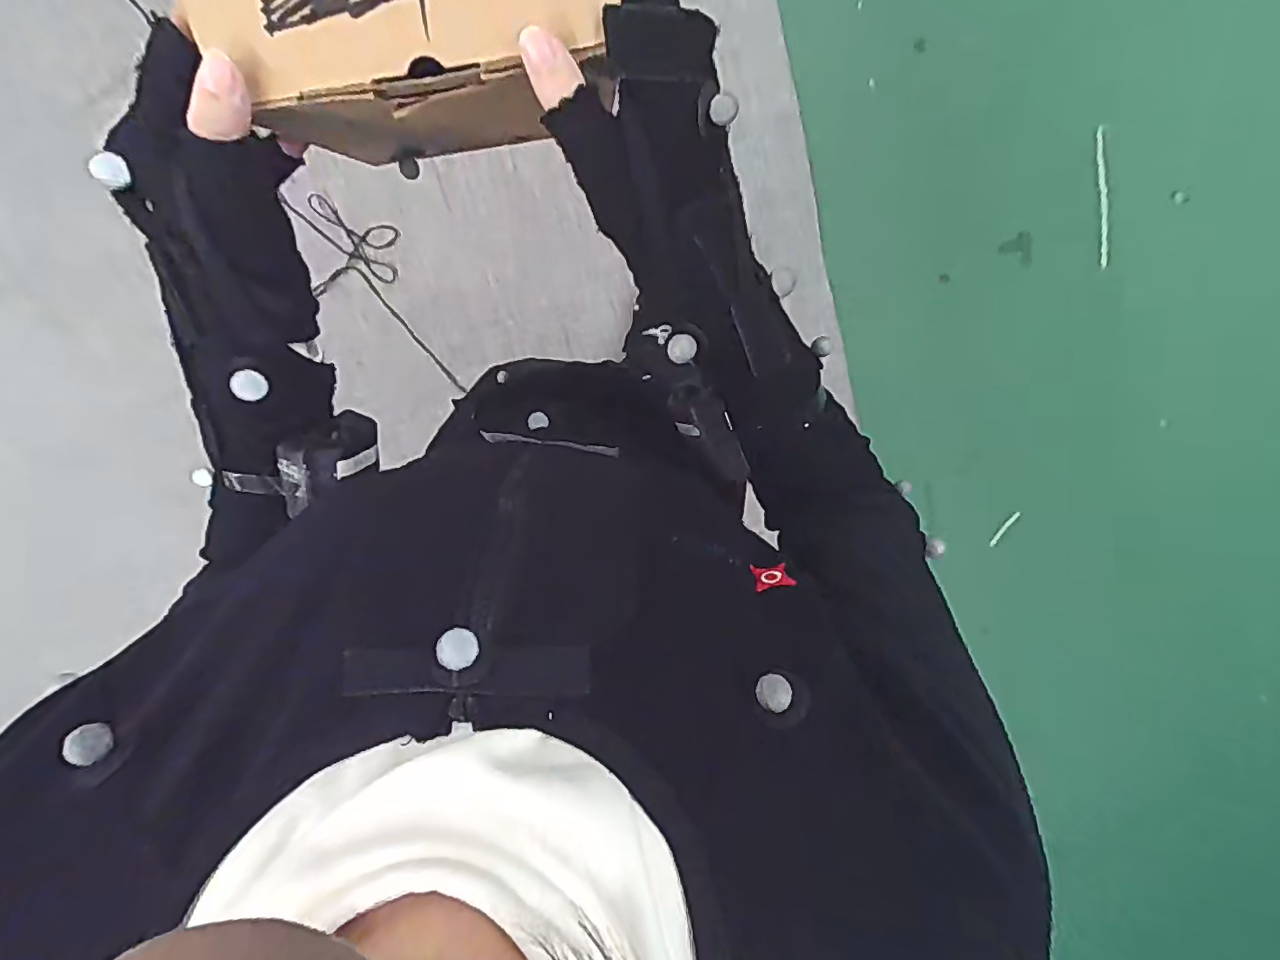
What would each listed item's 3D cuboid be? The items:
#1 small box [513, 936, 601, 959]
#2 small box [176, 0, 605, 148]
[{"bbox_3d":[-0.150,1.009,1.007,0.168,0.176,0.179,-16,105,4],"label":"small box"},{"bbox_3d":[-0.110,-0.276,0.258,0.168,0.176,0.179,-11,113,0],"label":"small box"}]
